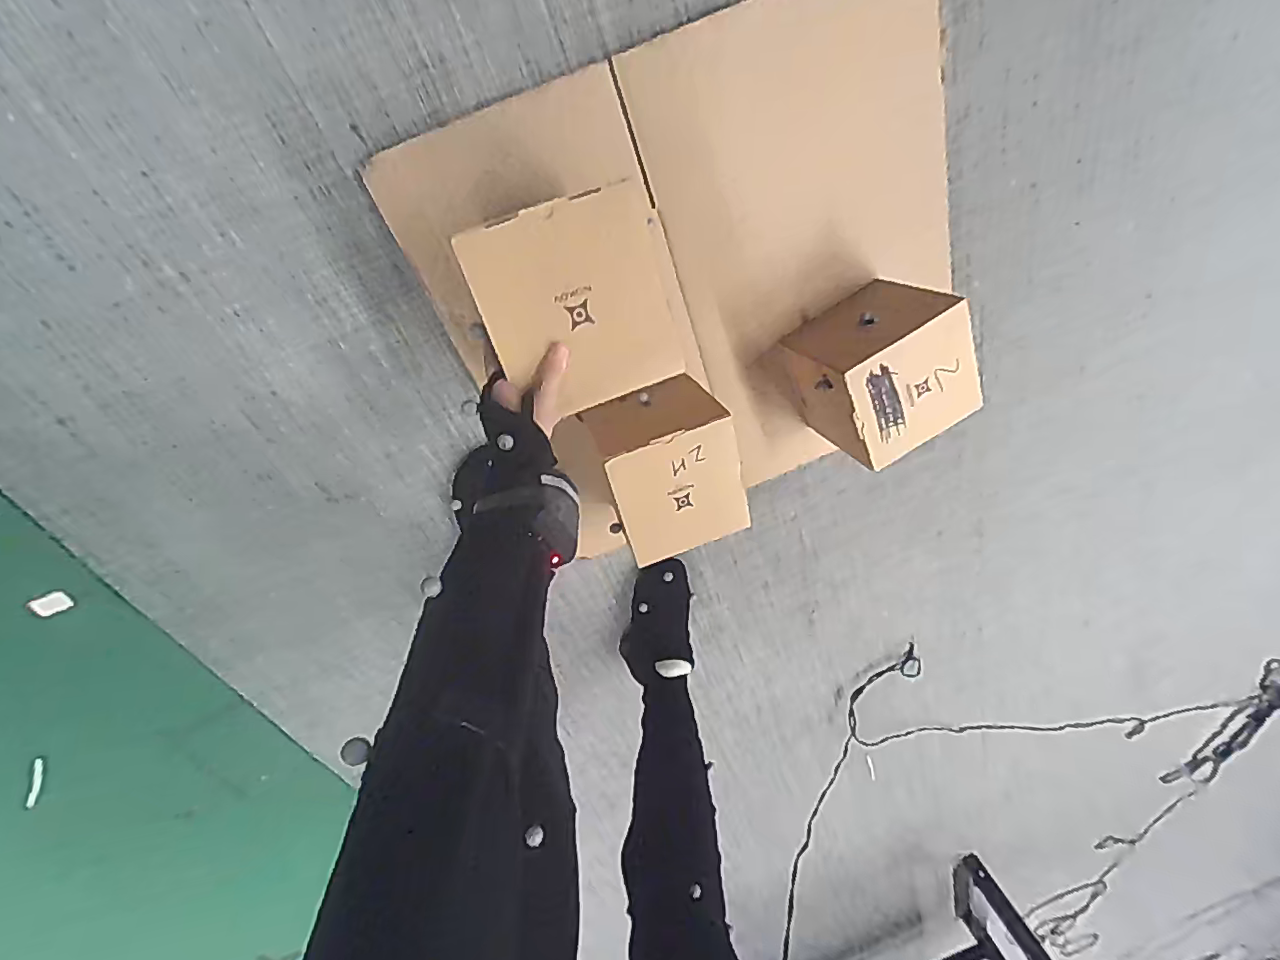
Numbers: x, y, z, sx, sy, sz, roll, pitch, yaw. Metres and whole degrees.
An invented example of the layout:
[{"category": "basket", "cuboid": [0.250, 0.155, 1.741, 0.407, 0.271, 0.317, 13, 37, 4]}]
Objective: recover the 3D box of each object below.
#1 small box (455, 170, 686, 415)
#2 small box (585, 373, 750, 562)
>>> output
[{"category": "small box", "cuboid": [-0.070, -0.188, 0.558, 0.168, 0.176, 0.179, -21, 111, -6]}, {"category": "small box", "cuboid": [0.034, -0.024, 0.745, 0.168, 0.176, 0.179, -20, 121, -5]}]
